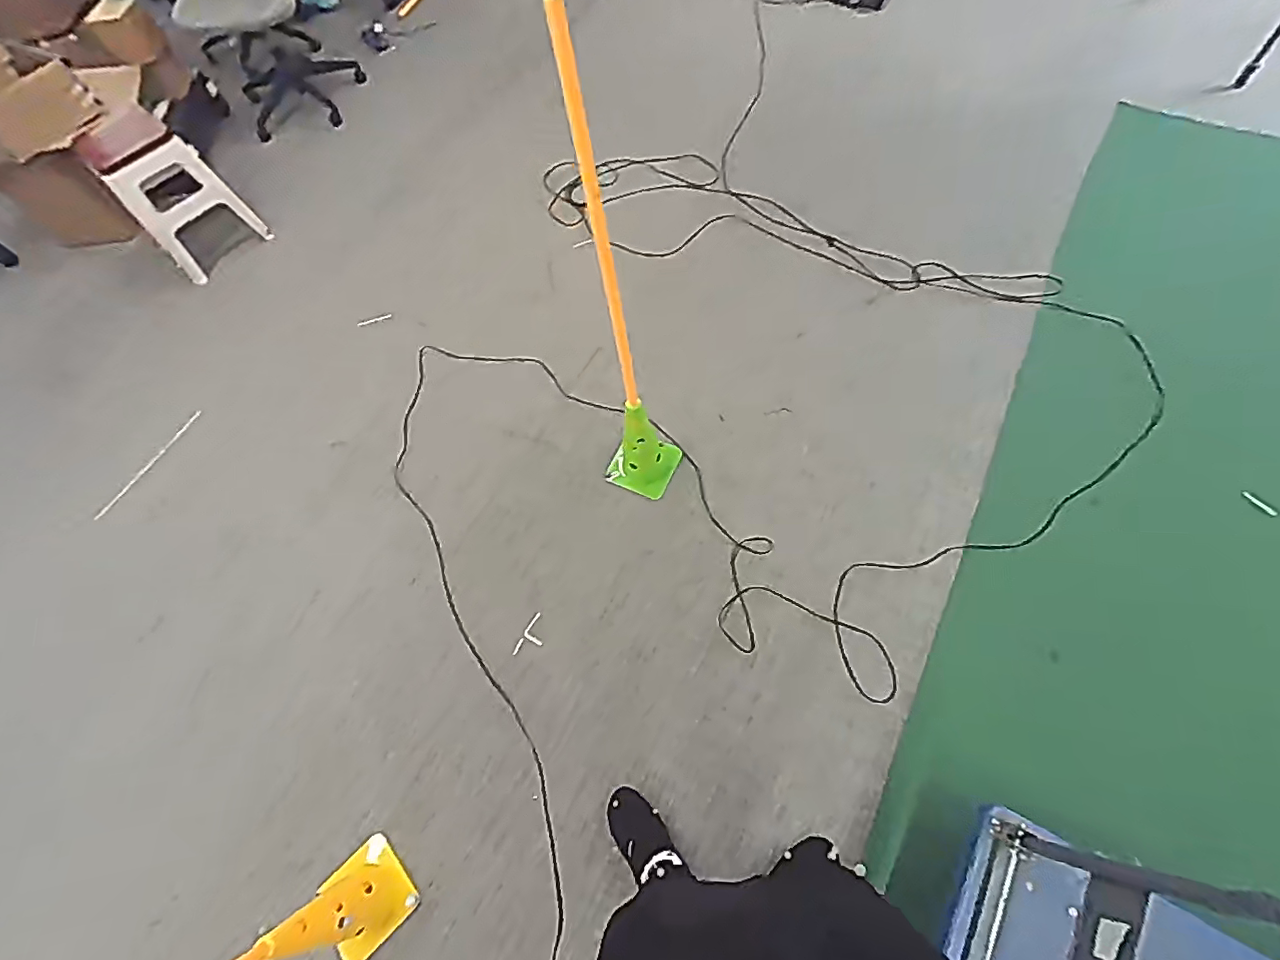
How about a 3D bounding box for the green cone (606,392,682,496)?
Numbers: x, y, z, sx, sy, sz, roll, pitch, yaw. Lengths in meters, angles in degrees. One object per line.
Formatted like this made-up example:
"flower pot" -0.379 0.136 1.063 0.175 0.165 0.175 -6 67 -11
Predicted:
"green cone" 0.001 -0.134 1.587 0.200 0.368 0.202 21 67 15
